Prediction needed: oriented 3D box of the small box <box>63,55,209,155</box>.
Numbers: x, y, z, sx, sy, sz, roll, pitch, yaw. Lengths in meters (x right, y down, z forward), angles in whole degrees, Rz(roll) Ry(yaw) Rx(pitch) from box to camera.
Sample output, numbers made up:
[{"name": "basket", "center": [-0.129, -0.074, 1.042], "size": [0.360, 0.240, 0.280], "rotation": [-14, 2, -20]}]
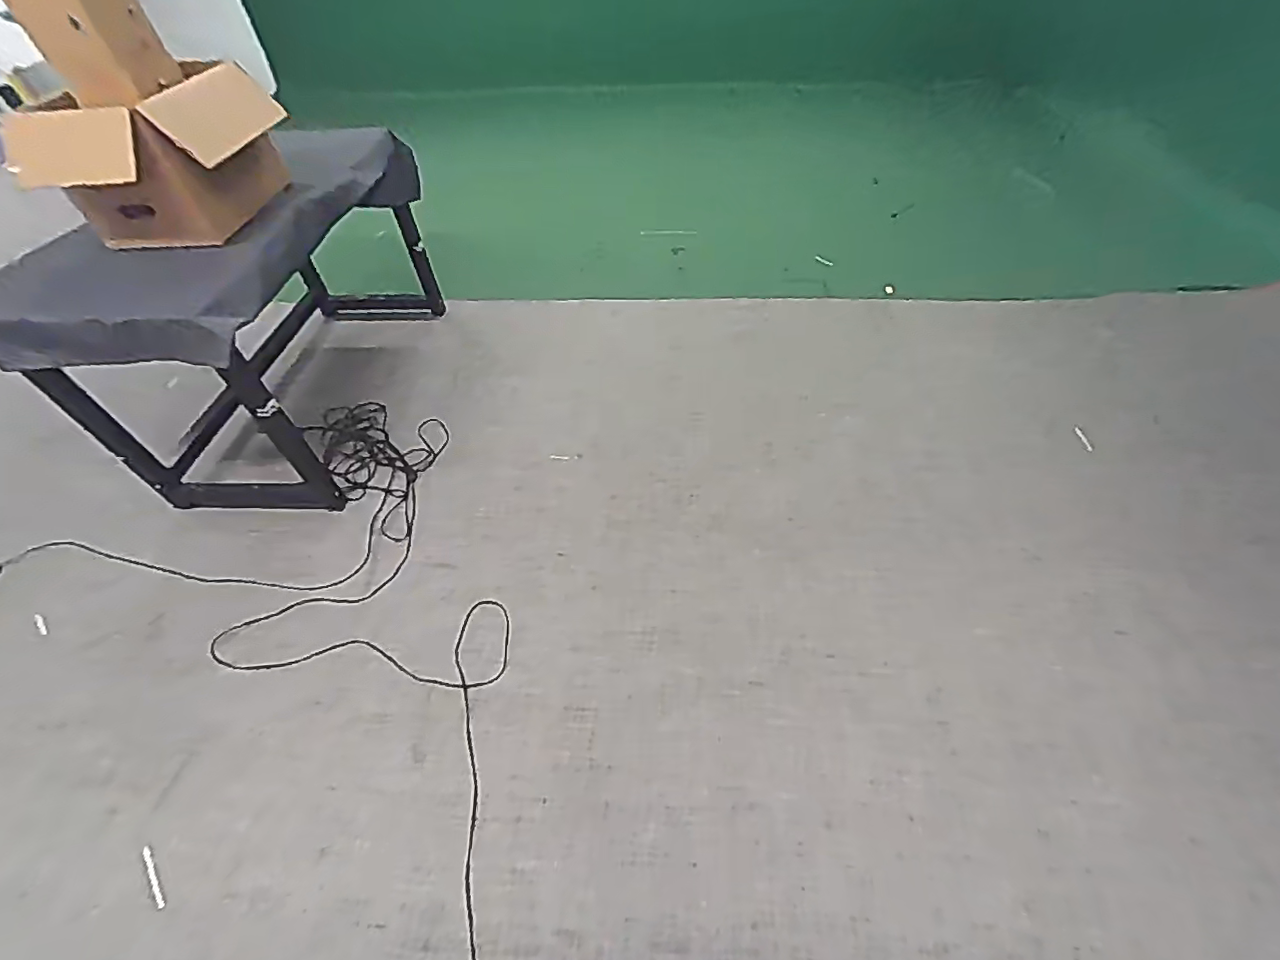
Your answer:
[{"name": "small box", "center": [-1.225, -0.925, 1.337], "size": [0.168, 0.176, 0.179], "rotation": [0, 49, 3]}]

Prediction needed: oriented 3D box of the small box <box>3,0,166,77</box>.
[{"name": "small box", "center": [-1.241, -1.030, 1.215], "size": [0.179, 0.176, 0.168], "rotation": [0, 49, 5]}]
